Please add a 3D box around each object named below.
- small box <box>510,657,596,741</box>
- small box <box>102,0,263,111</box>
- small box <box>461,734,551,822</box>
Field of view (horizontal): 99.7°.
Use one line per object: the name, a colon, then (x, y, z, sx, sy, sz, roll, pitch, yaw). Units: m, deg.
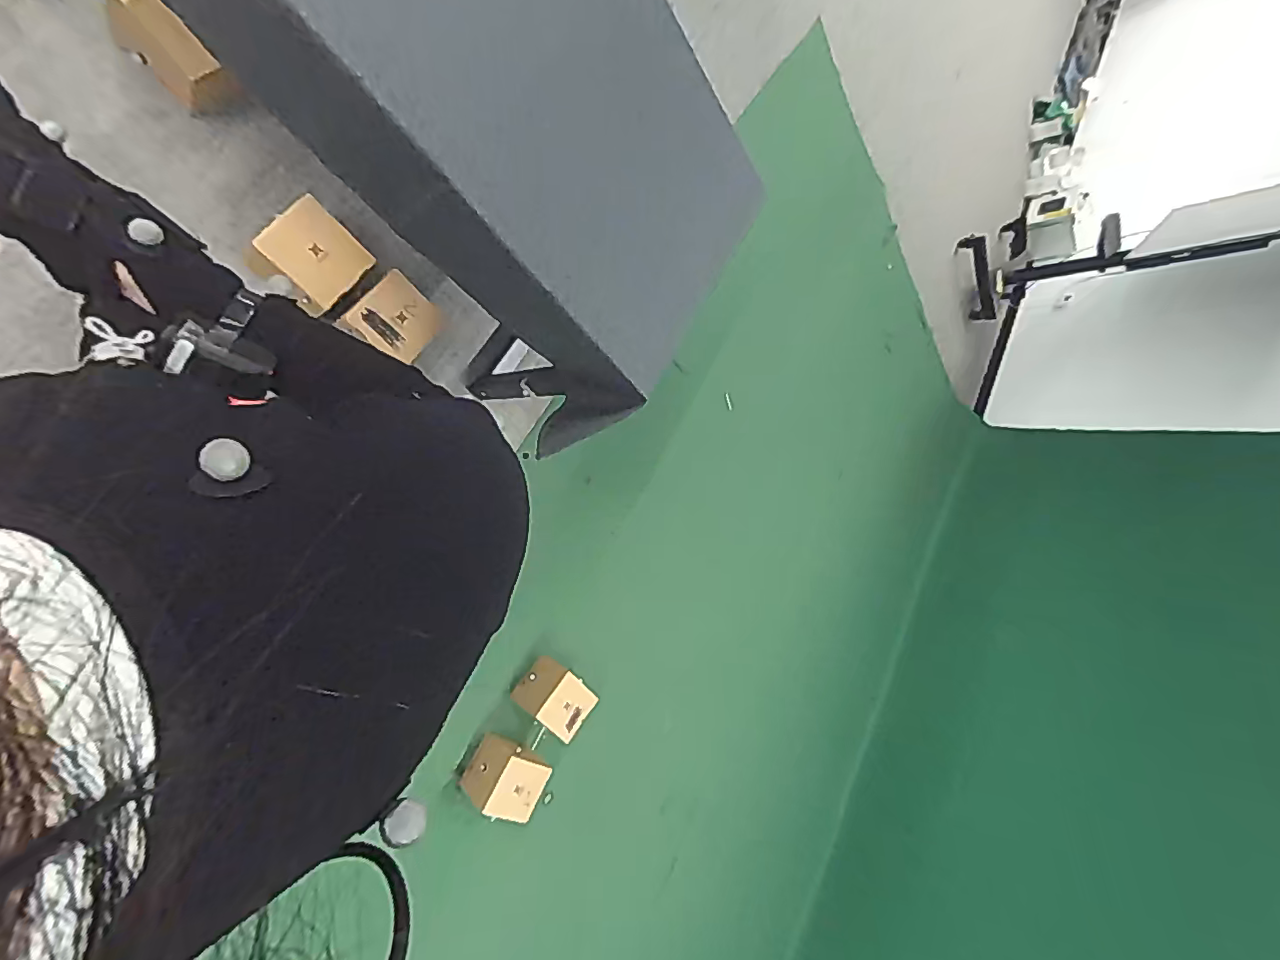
small box: (-0.283, 0.698, 1.744, 0.168, 0.176, 0.179, -52, 124, -26)
small box: (-0.876, -0.857, 1.034, 0.179, 0.176, 0.168, -54, 126, -24)
small box: (-0.412, 0.901, 1.647, 0.179, 0.176, 0.168, 42, 68, -37)
